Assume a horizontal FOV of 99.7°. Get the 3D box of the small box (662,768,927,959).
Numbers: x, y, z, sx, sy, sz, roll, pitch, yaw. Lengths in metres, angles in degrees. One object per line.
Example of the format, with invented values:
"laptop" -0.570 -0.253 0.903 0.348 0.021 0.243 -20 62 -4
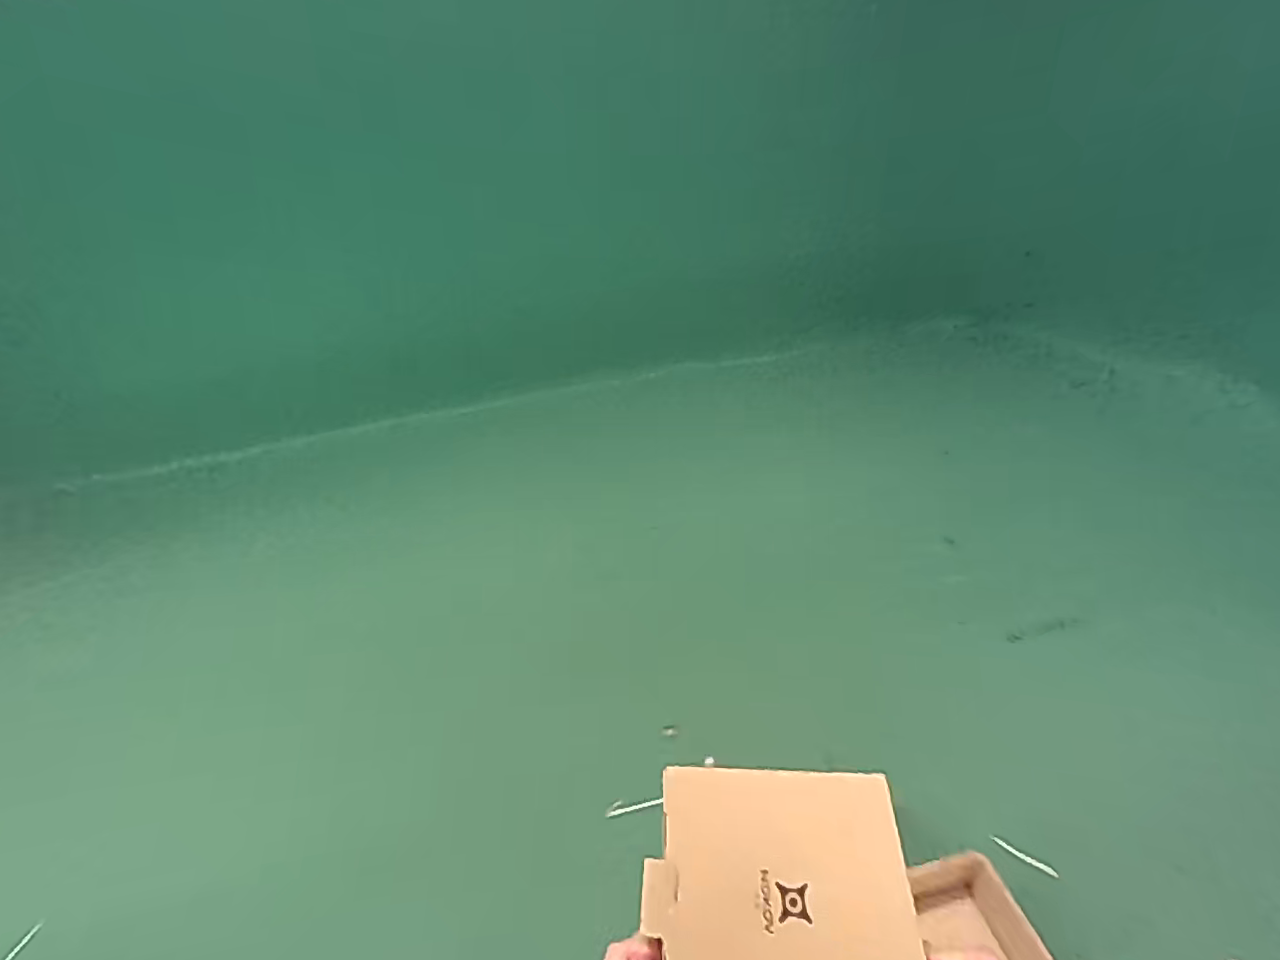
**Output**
"small box" 0.107 0.343 0.444 0.179 0.176 0.168 -2 51 3
